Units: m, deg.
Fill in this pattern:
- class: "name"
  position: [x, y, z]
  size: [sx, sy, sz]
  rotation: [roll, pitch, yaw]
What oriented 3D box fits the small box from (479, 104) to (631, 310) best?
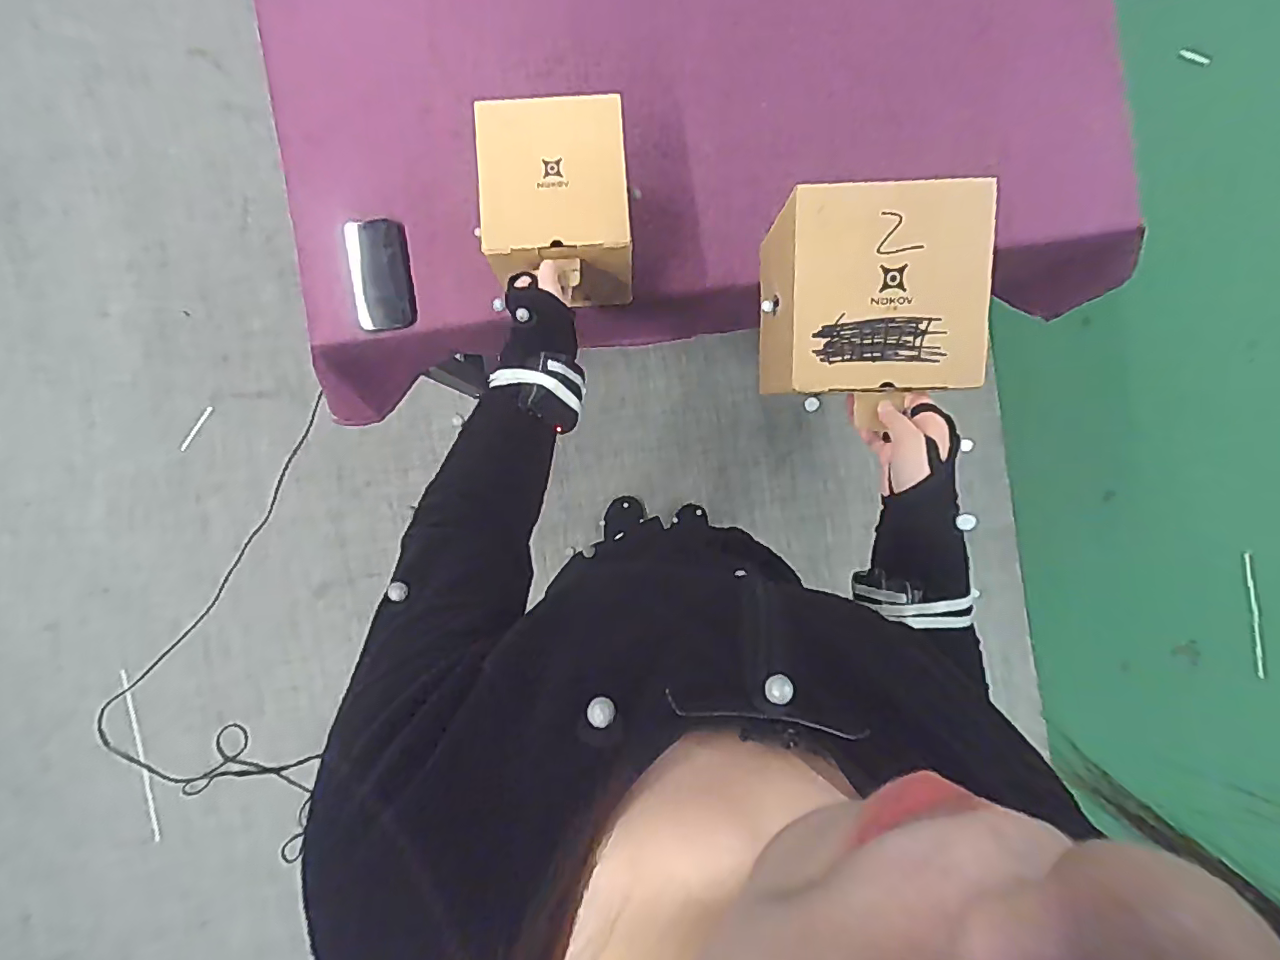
- class: "small box"
  position: [-0.100, -0.334, 0.688]
  size: [0.168, 0.176, 0.179]
  rotation: [-4, 88, -2]
